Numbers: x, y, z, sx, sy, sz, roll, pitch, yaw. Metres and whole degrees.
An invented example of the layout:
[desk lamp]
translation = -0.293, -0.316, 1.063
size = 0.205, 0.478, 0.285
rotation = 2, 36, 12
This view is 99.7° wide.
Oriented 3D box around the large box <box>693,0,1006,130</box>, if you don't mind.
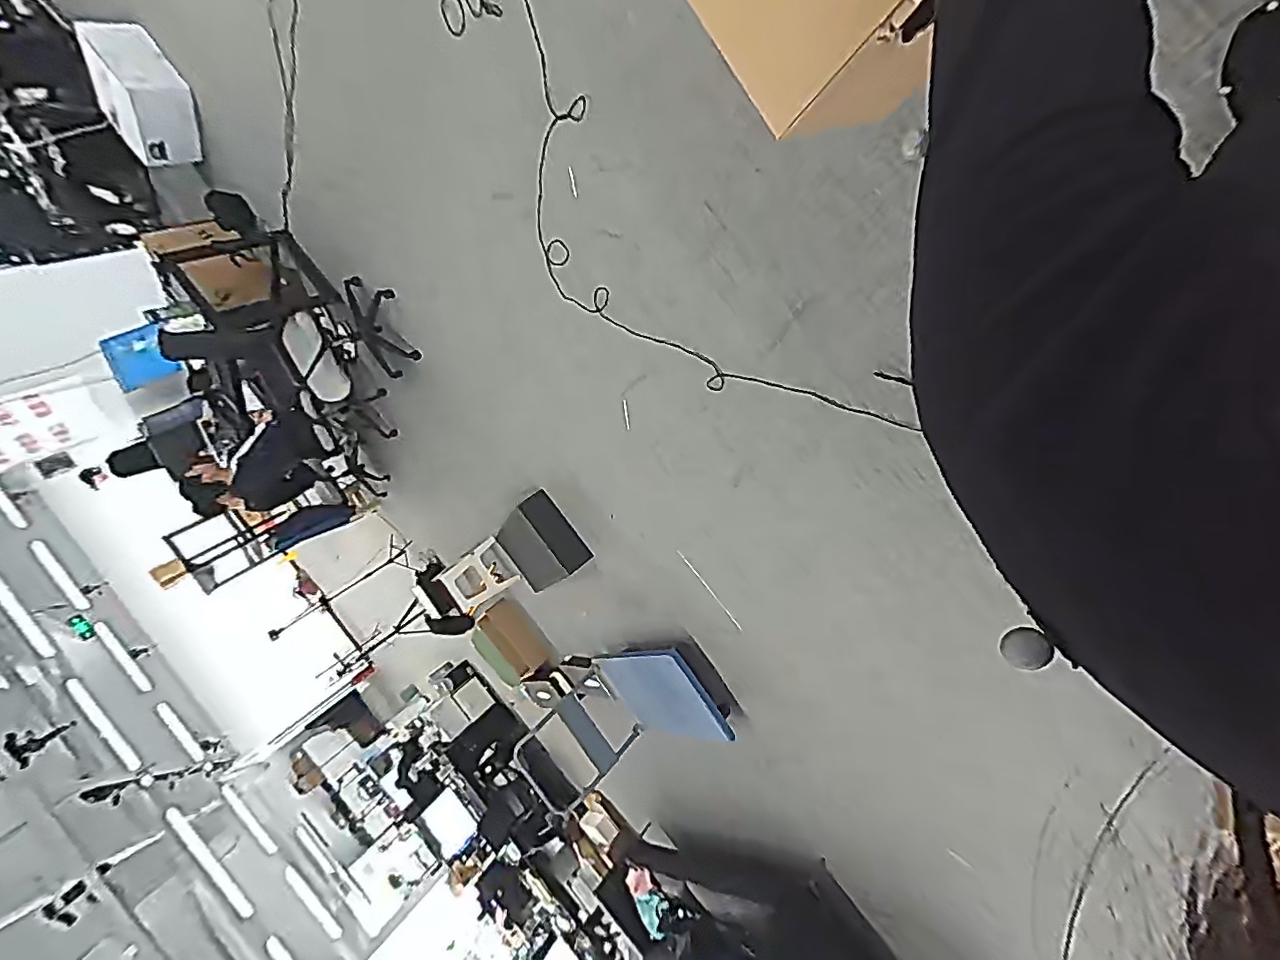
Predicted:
[large box]
translation = 0.213, -0.638, 0.525
size = 0.408, 0.320, 0.320
rotation = 56, 142, -2
